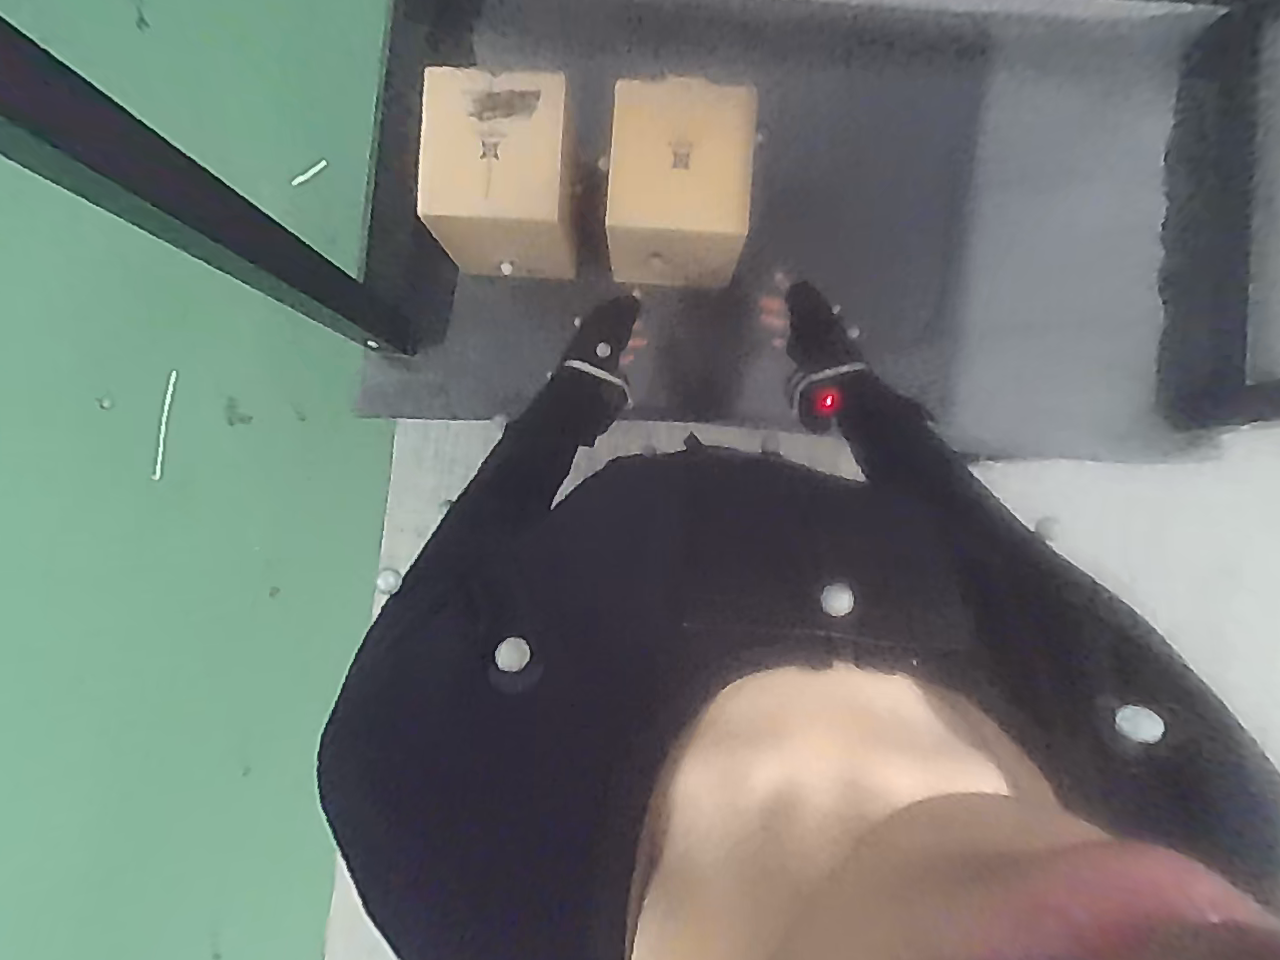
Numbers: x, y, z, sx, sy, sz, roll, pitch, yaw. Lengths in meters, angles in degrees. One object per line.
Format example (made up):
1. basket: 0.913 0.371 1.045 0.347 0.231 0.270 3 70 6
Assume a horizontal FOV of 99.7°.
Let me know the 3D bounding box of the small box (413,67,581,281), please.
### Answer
1. small box: -0.172 -0.381 0.700 0.168 0.176 0.179 4 88 1
